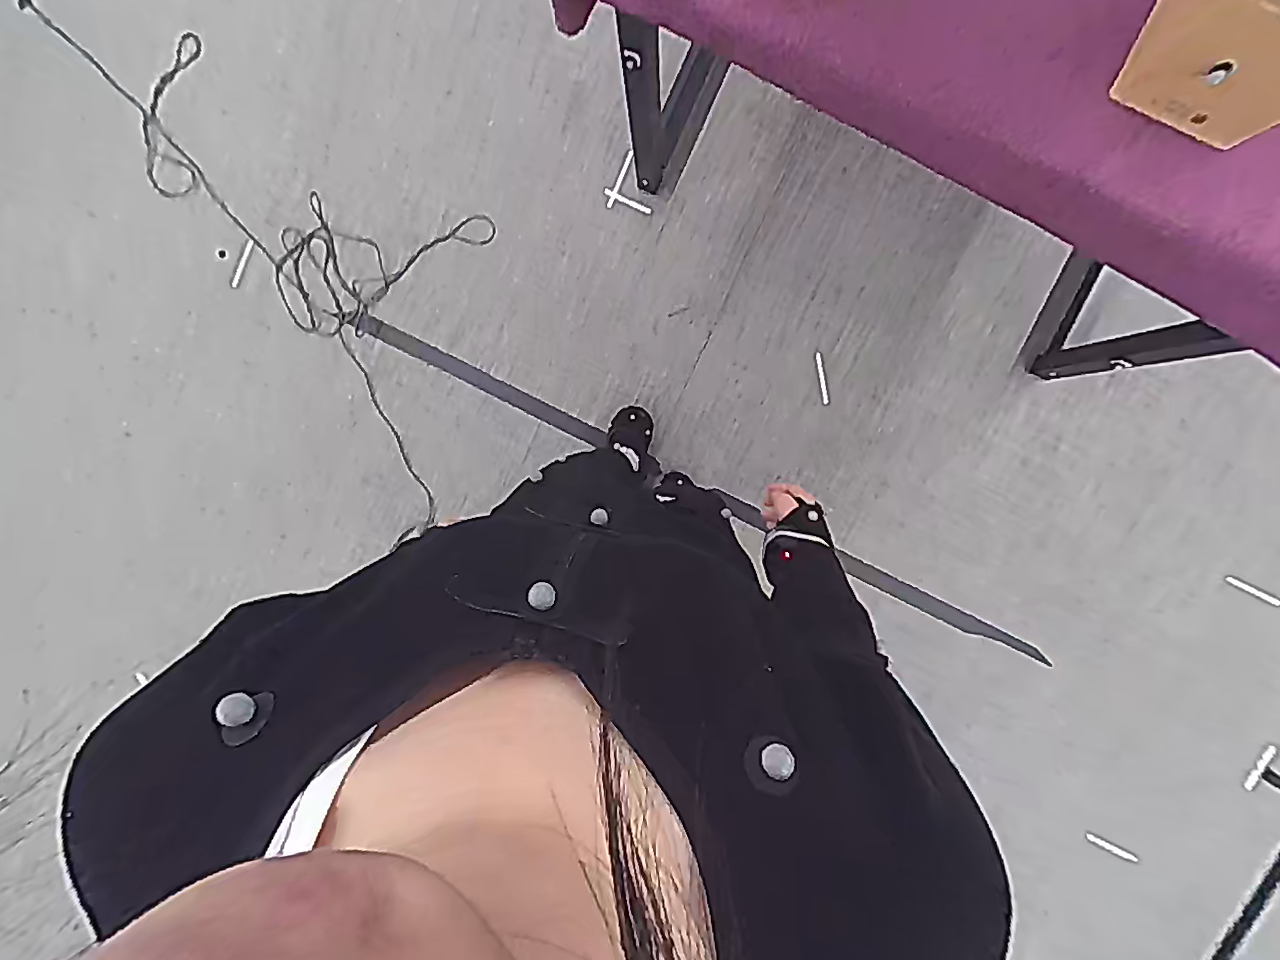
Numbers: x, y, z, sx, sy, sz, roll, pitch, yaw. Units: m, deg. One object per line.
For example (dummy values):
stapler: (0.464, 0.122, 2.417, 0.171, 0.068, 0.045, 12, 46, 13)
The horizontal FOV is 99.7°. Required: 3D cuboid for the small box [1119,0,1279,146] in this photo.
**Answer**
small box: (0.703, -0.522, 0.604, 0.168, 0.176, 0.179, 26, 95, 1)
